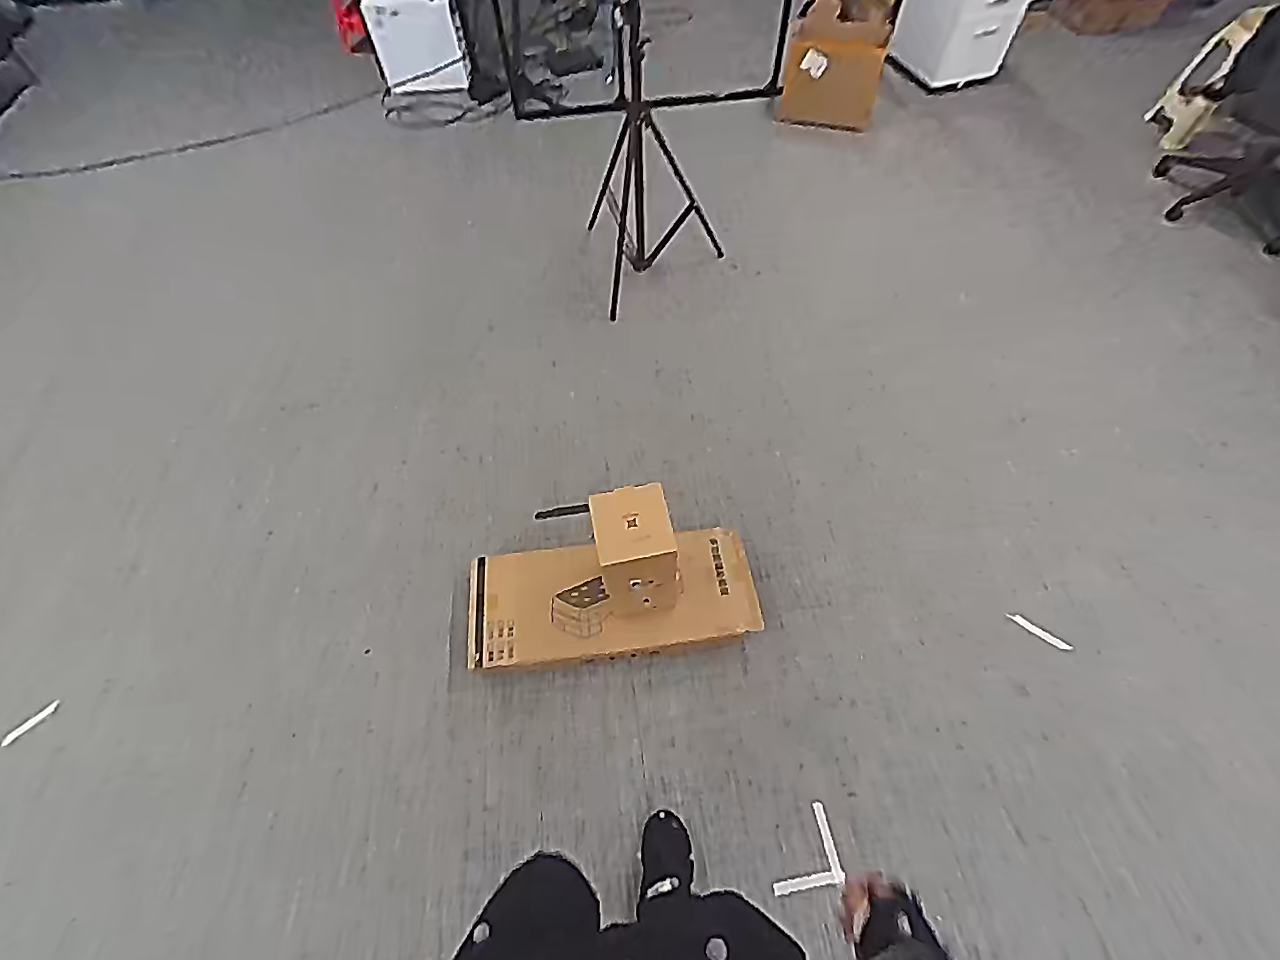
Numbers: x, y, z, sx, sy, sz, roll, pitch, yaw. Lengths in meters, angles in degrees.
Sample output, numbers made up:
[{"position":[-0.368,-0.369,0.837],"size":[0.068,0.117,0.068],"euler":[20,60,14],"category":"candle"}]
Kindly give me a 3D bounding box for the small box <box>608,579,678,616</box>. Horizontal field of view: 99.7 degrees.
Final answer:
[{"position":[-0.001,0.230,1.351],"size":[0.168,0.176,0.179],"euler":[-9,58,-4],"category":"small box"}]

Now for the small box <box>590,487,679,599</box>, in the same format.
[{"position":[-0.014,0.144,1.213],"size":[0.168,0.176,0.179],"euler":[-12,58,-5],"category":"small box"}]
